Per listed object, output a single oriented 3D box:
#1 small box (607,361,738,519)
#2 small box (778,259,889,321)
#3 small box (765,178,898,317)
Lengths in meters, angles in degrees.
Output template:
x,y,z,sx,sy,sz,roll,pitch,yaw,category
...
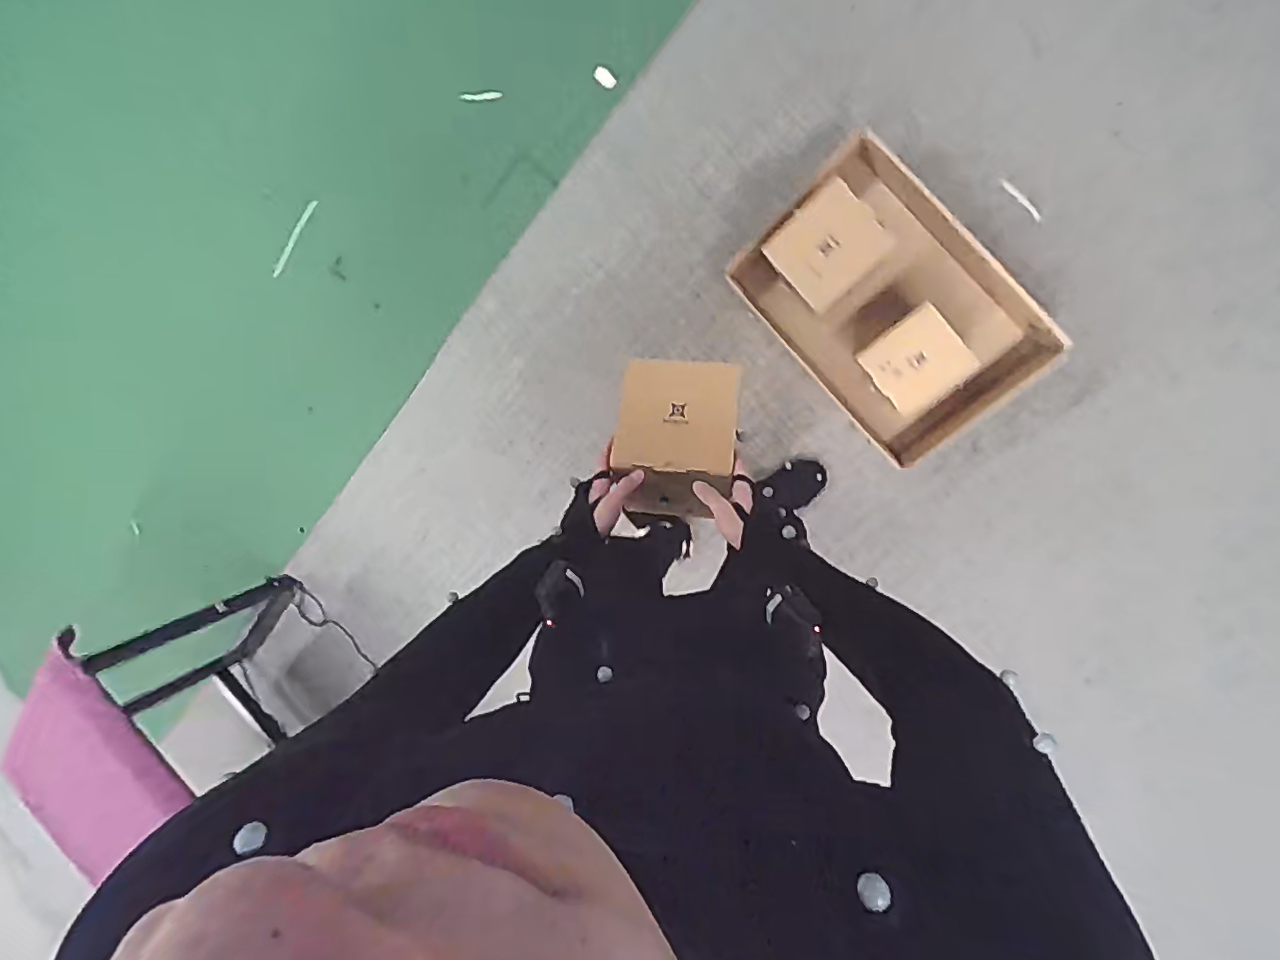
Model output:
x,y,z,sx,sy,sz,roll,pitch,yaw,category
0.053,-0.055,0.813,0.168,0.176,0.179,4,68,8,small box
0.418,-0.478,1.208,0.179,0.176,0.168,-40,88,21,small box
0.367,-0.442,1.058,0.179,0.176,0.168,-40,89,22,small box
